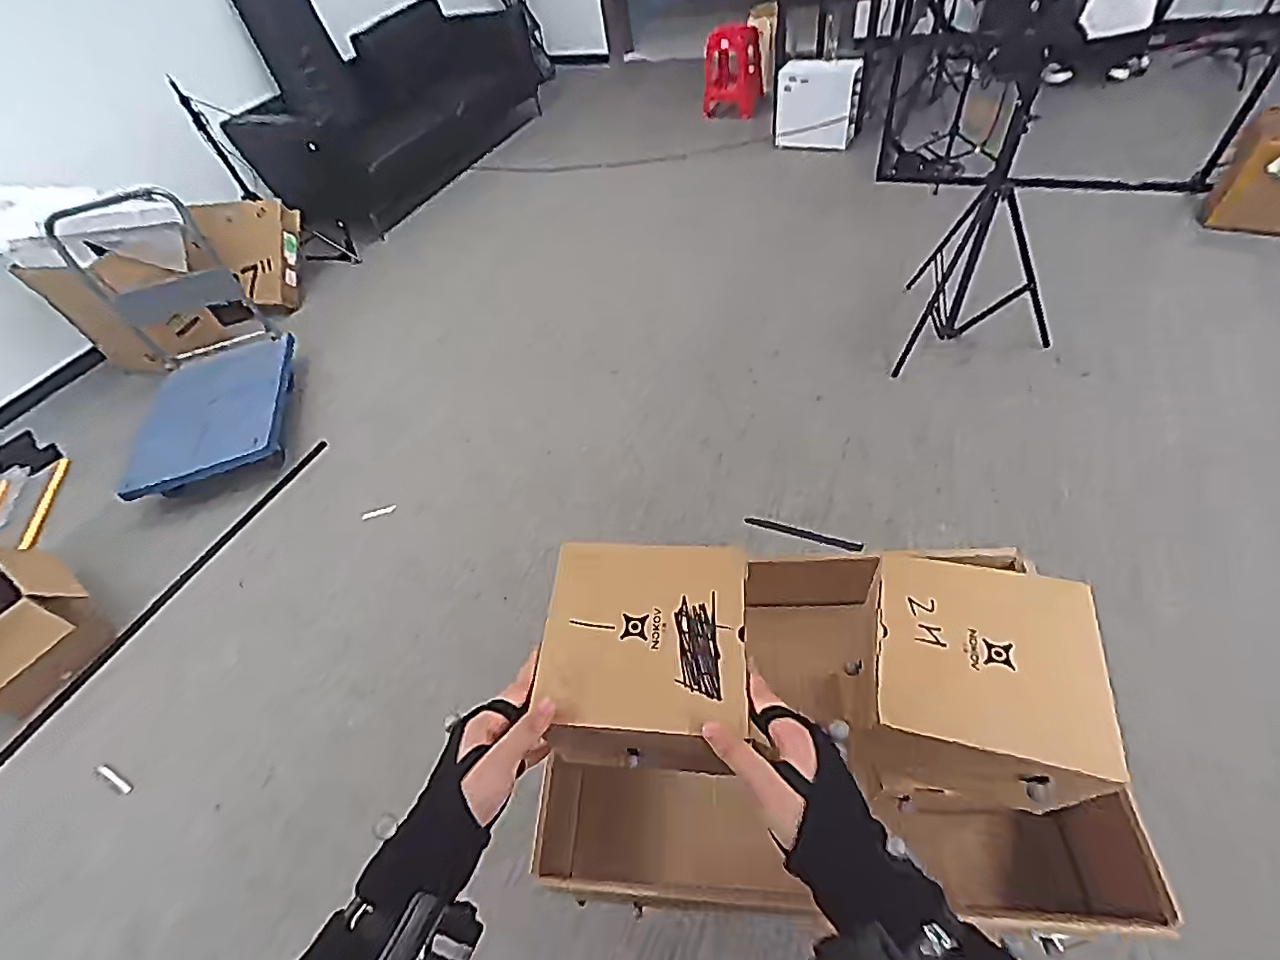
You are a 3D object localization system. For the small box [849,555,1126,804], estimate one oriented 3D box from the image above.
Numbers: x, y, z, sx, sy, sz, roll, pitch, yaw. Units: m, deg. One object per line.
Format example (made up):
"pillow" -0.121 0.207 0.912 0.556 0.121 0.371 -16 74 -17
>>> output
"small box" 0.313 0.197 0.528 0.179 0.176 0.168 7 54 18

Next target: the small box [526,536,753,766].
"small box" 0.012 0.168 0.519 0.179 0.176 0.168 1 56 8
